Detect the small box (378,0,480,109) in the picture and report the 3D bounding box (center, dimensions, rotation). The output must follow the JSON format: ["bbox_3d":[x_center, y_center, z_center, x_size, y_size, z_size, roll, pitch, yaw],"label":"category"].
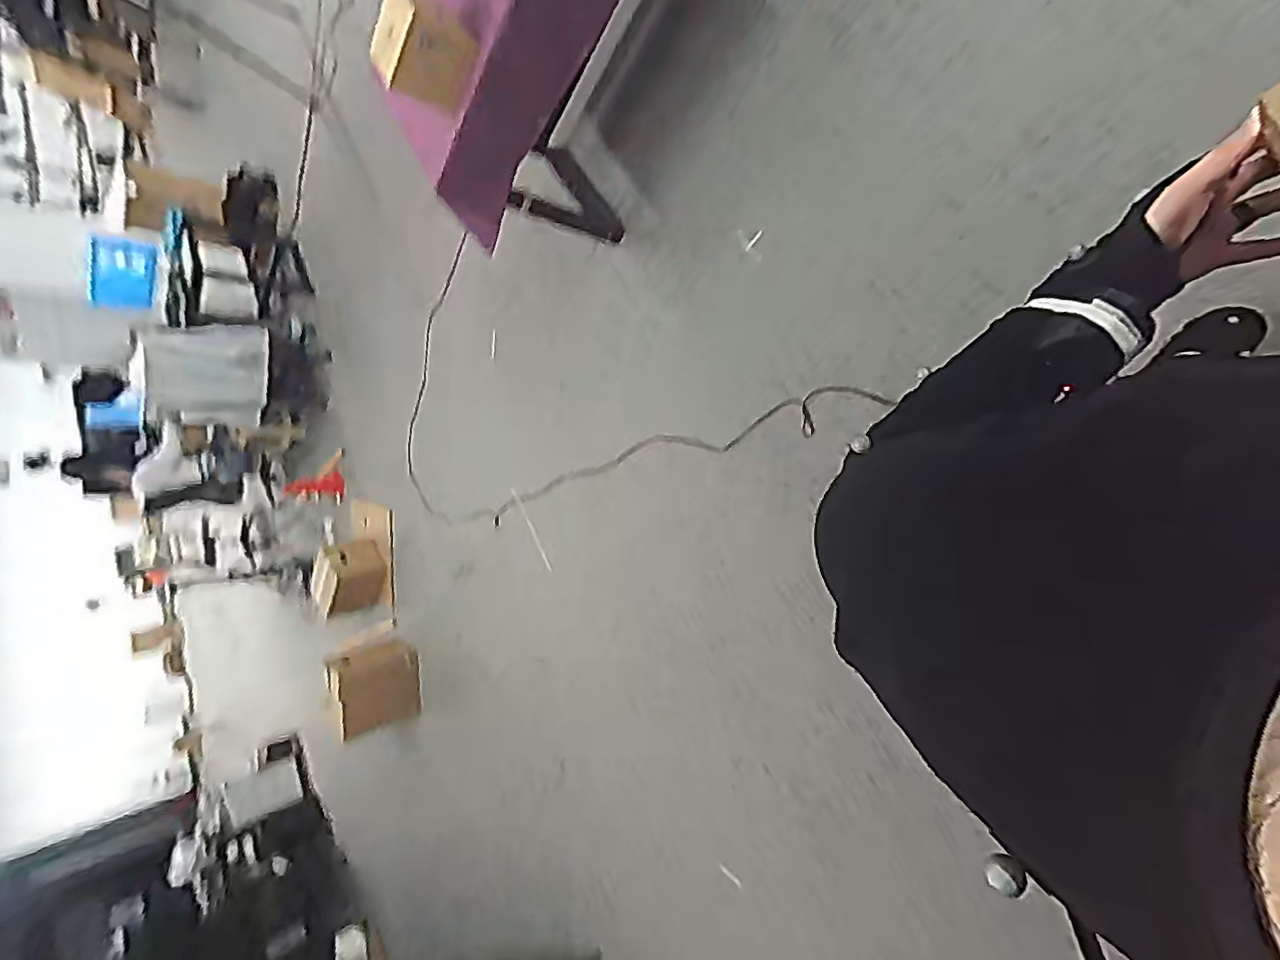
[{"bbox_3d":[-0.519,-1.085,1.345,0.179,0.176,0.168,-43,66,36],"label":"small box"}]
